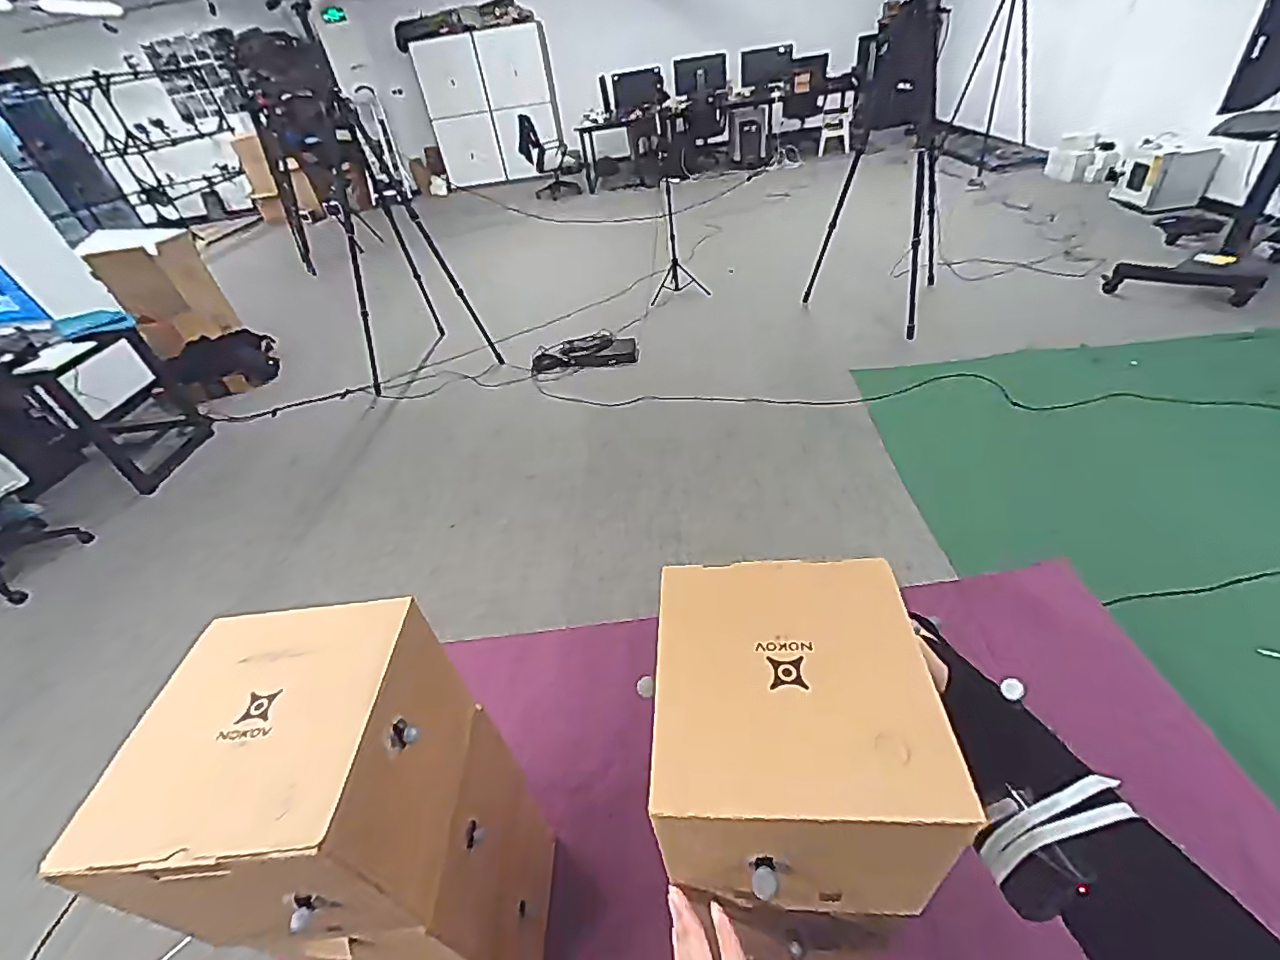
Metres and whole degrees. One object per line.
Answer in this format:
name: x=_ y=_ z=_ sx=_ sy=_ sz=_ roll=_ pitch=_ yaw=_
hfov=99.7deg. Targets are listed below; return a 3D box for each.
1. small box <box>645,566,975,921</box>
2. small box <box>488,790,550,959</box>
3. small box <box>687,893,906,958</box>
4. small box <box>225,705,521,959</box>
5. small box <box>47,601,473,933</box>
small box: x=0.101 y=0.183 z=0.384 sx=0.168 sy=0.176 sz=0.179 roll=-3 pitch=38 yaw=8
small box: x=-0.206 y=0.472 z=0.614 sx=0.168 sy=0.176 sz=0.179 roll=-4 pitch=40 yaw=4
small box: x=0.124 y=0.302 z=0.494 sx=0.168 sy=0.176 sz=0.179 roll=-4 pitch=39 yaw=7
small box: x=-0.224 y=0.341 z=0.515 sx=0.168 sy=0.176 sz=0.179 roll=-5 pitch=38 yaw=5
small box: x=-0.243 y=0.218 z=0.410 sx=0.168 sy=0.176 sz=0.179 roll=-5 pitch=39 yaw=3
